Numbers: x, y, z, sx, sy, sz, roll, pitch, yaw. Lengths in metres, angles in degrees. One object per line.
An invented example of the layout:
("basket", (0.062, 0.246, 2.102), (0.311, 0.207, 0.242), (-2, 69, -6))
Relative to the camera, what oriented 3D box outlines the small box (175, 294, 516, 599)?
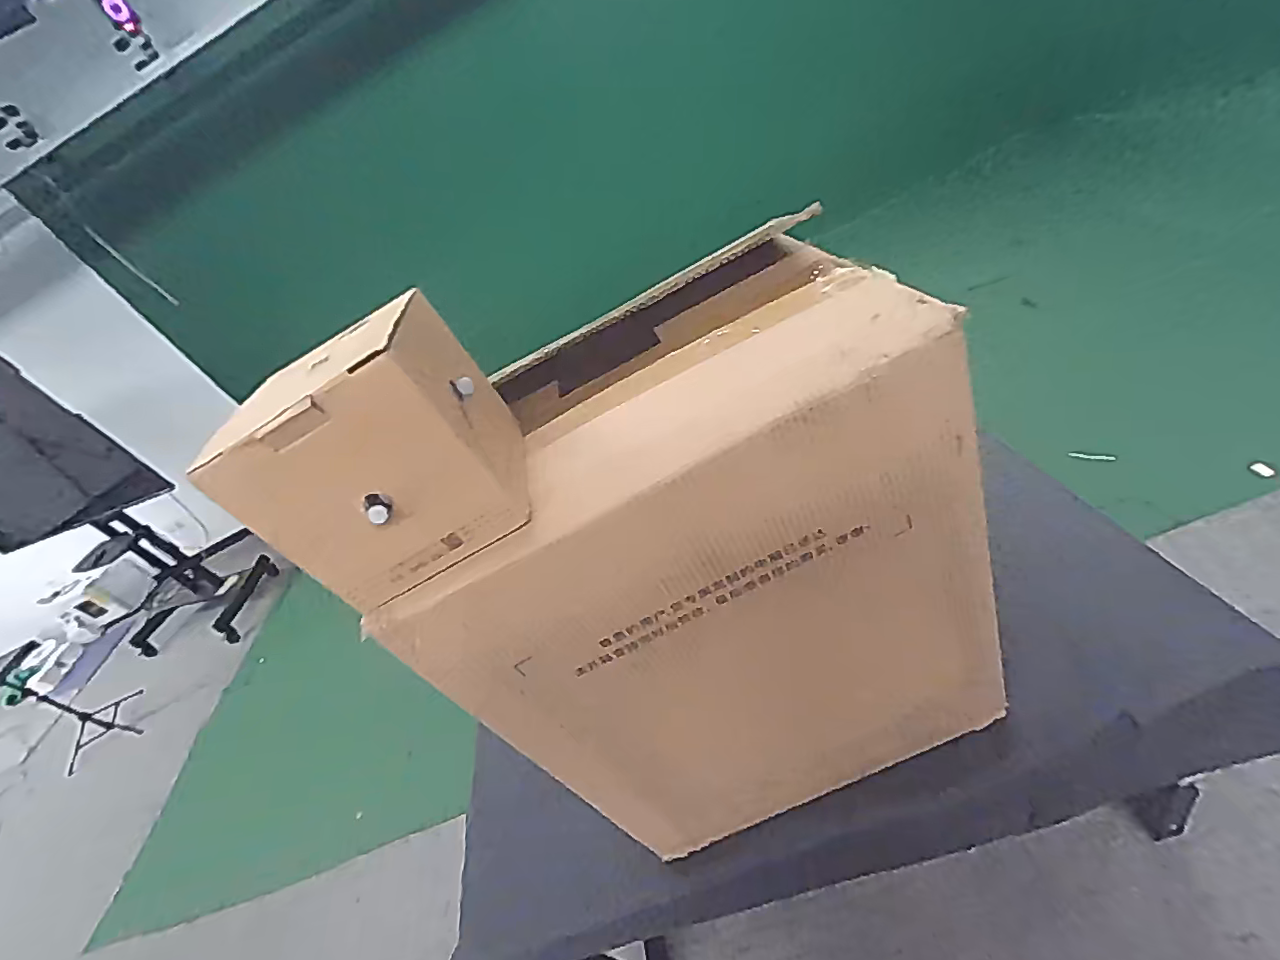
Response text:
("small box", (-0.221, -0.023, 0.463), (0.168, 0.176, 0.179), (-30, 35, 5))
